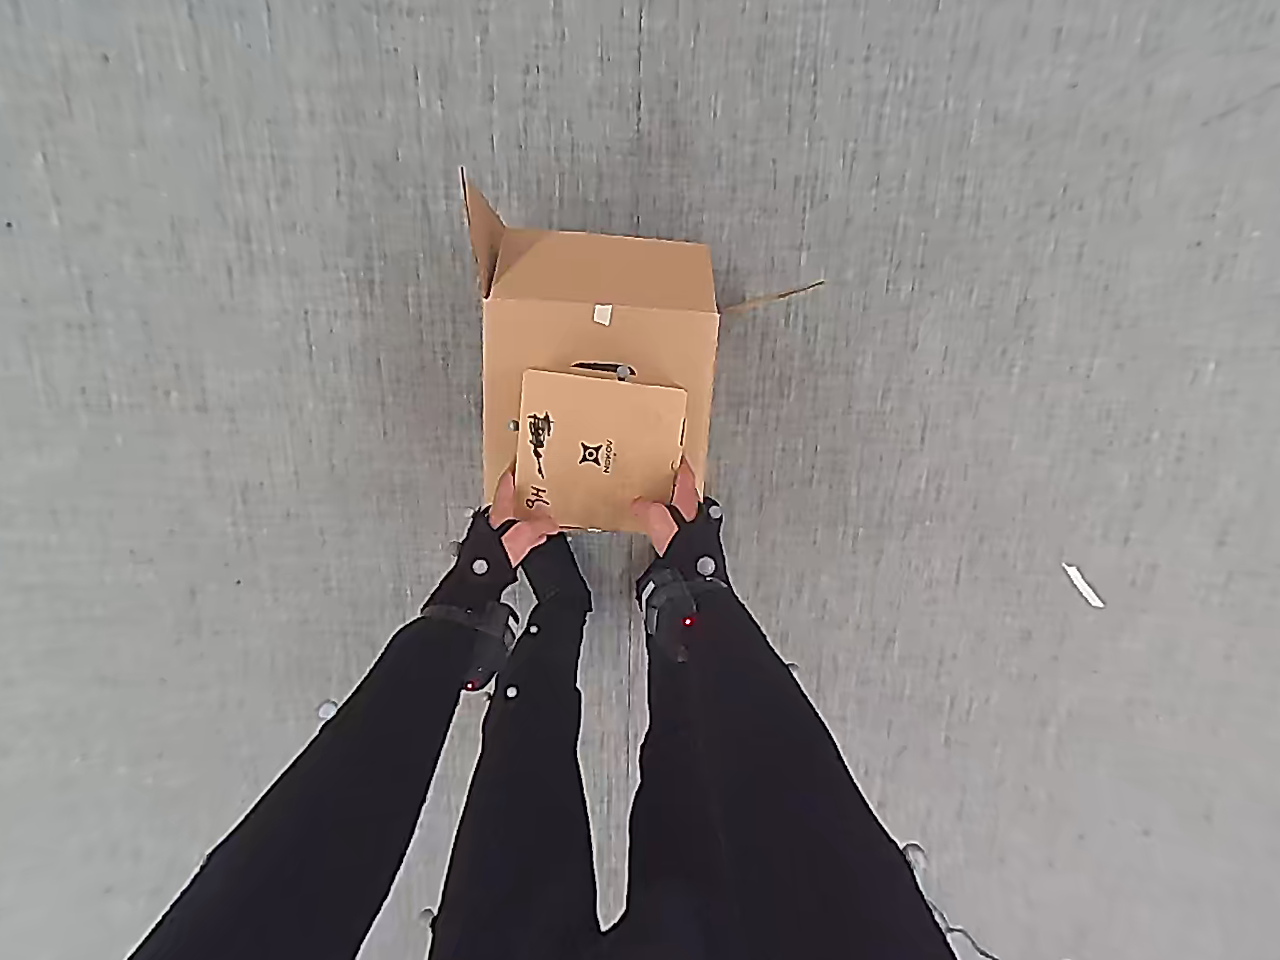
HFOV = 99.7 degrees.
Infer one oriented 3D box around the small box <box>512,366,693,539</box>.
[{"bbox_3d":[-0.046,-0.042,0.650,0.179,0.176,0.168,8,104,-5],"label":"small box"}]
